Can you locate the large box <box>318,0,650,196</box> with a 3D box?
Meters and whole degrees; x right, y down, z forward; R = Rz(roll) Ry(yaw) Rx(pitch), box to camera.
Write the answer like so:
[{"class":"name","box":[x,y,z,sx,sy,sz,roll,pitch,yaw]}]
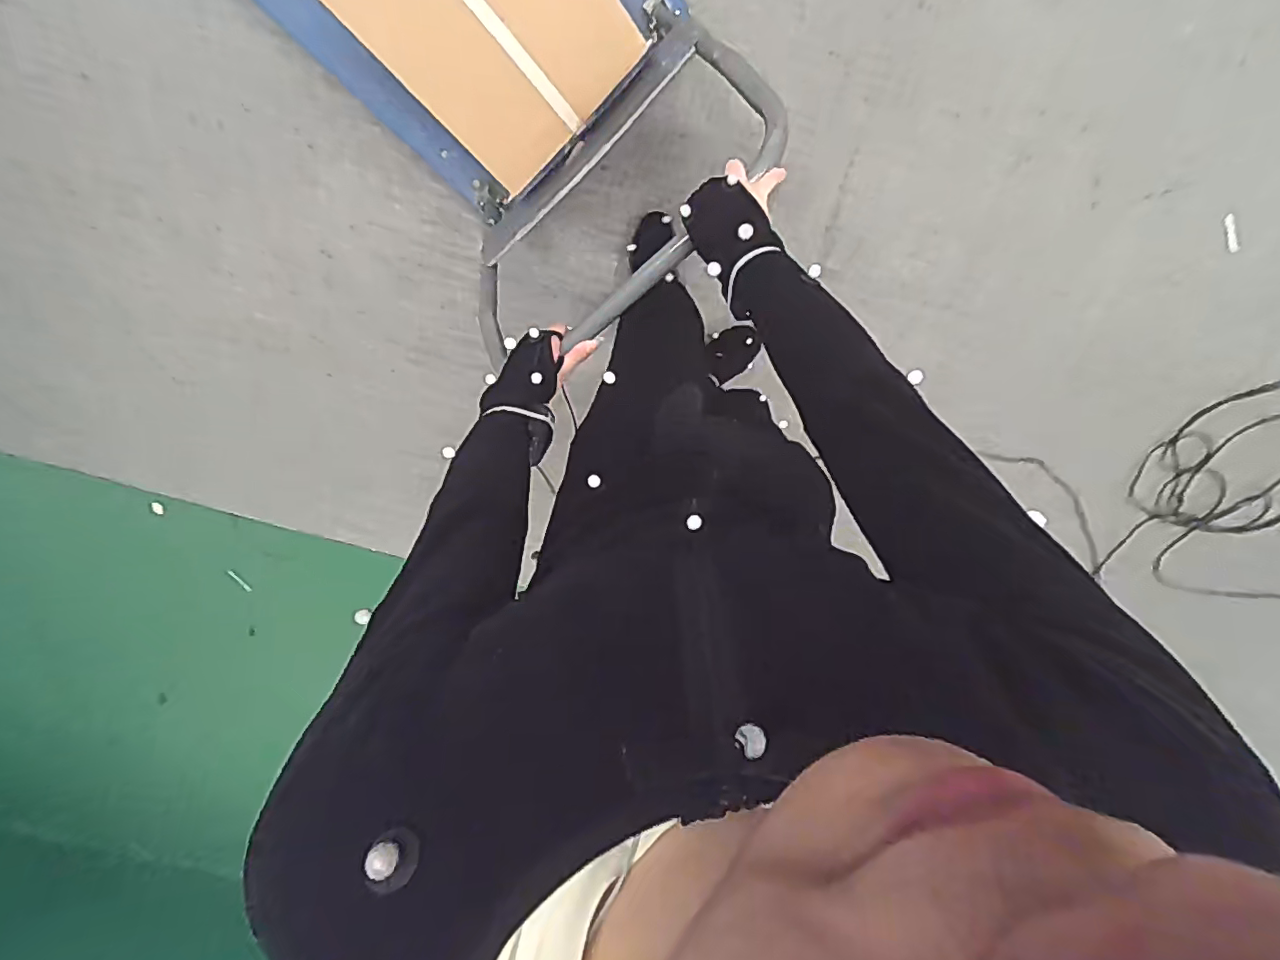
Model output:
[{"class":"large box","box":[-0.240,-0.763,0.865,0.320,0.320,0.408,-36,129,22]}]
